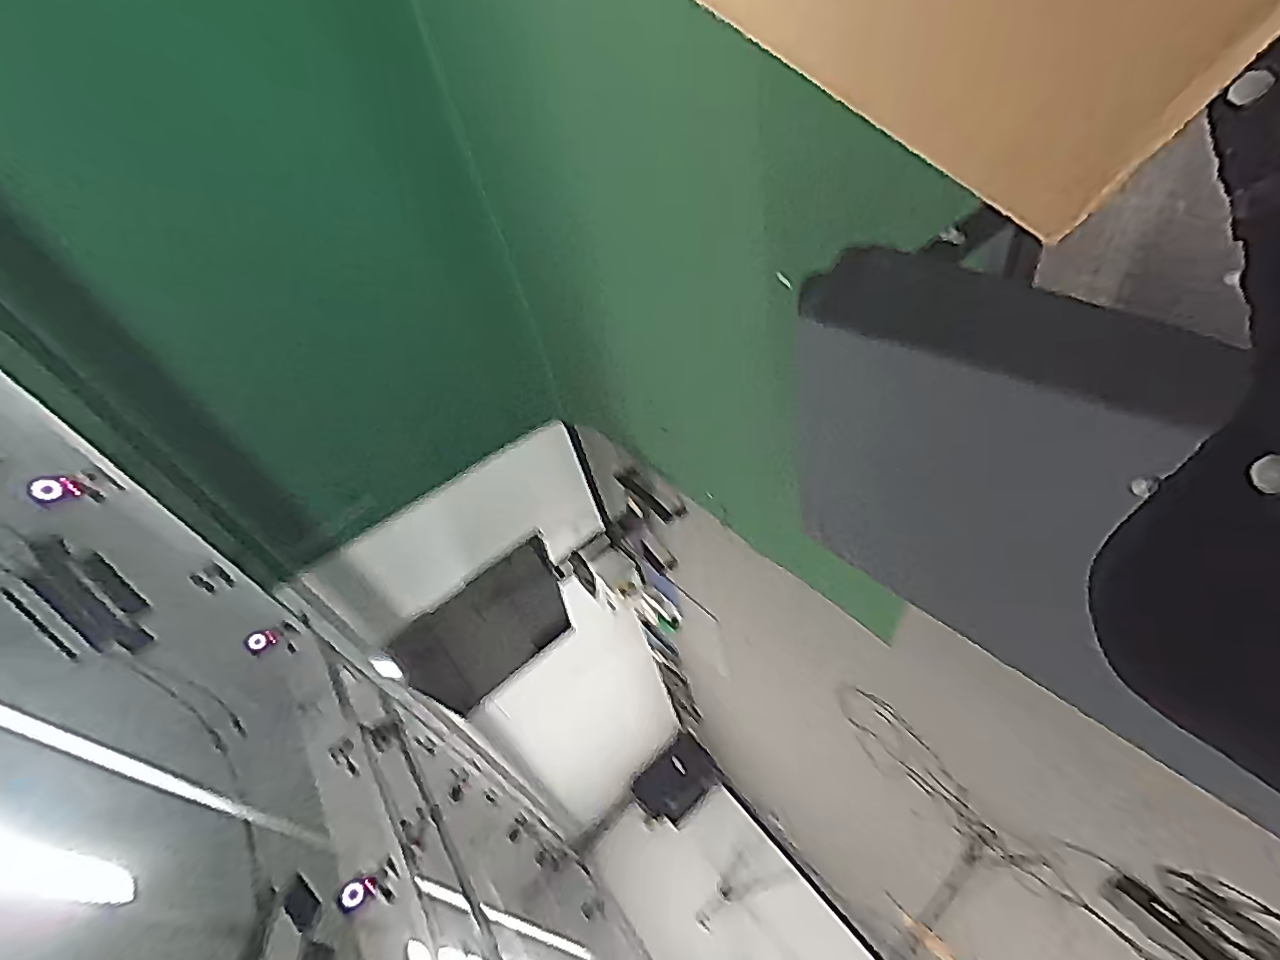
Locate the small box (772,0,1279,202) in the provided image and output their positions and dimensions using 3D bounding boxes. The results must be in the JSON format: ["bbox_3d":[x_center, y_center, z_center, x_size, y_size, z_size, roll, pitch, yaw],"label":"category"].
[{"bbox_3d":[0.123,-0.209,0.106,0.168,0.176,0.179,44,160,11],"label":"small box"}]
